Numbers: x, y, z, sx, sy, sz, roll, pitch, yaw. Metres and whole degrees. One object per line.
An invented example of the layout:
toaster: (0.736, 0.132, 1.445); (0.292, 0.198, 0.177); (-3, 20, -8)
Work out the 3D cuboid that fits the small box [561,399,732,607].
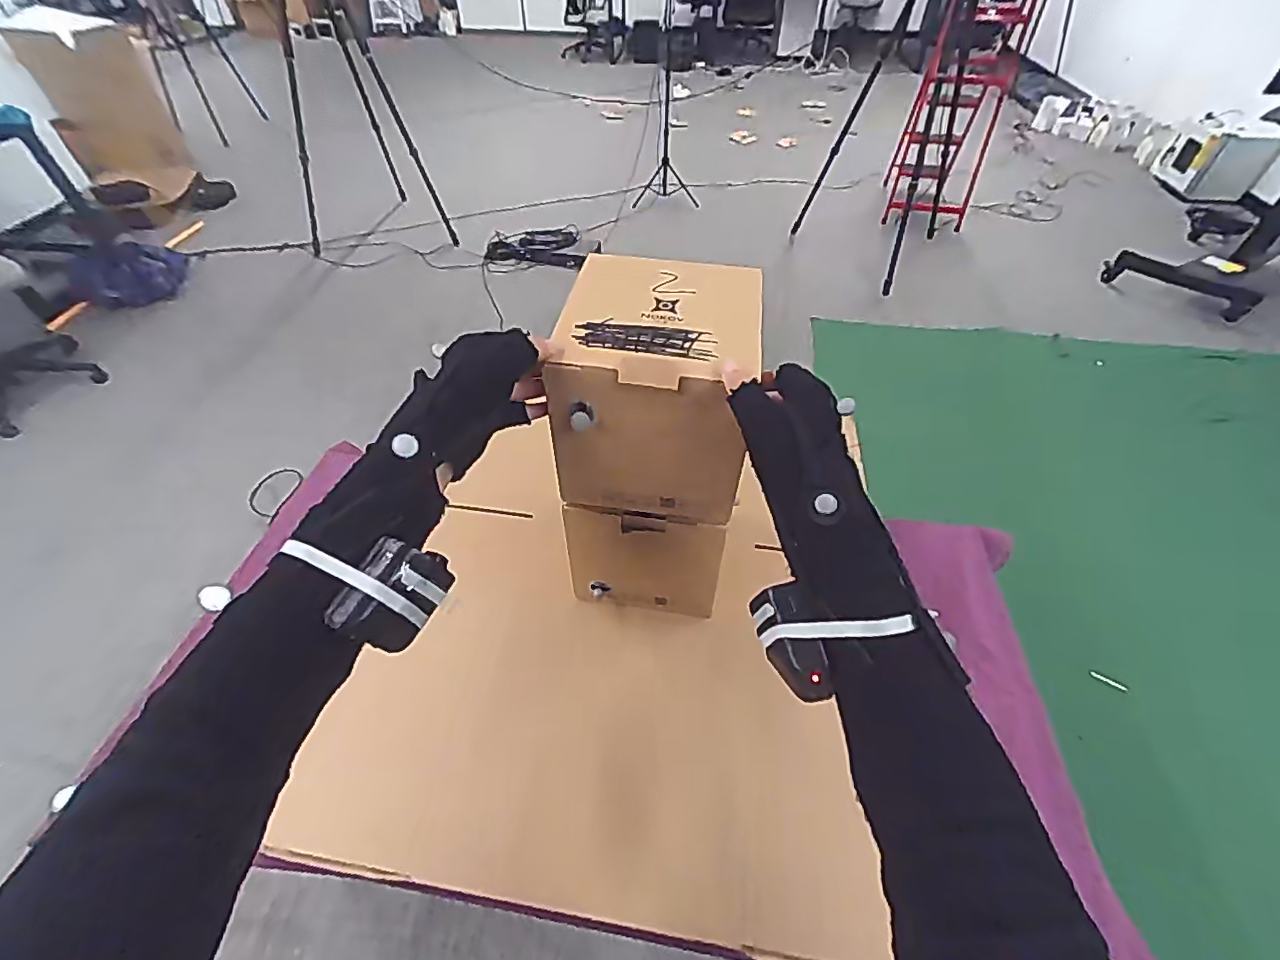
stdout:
small box: (0.014, 0.029, 0.643); (0.168, 0.176, 0.179); (7, 46, 6)
